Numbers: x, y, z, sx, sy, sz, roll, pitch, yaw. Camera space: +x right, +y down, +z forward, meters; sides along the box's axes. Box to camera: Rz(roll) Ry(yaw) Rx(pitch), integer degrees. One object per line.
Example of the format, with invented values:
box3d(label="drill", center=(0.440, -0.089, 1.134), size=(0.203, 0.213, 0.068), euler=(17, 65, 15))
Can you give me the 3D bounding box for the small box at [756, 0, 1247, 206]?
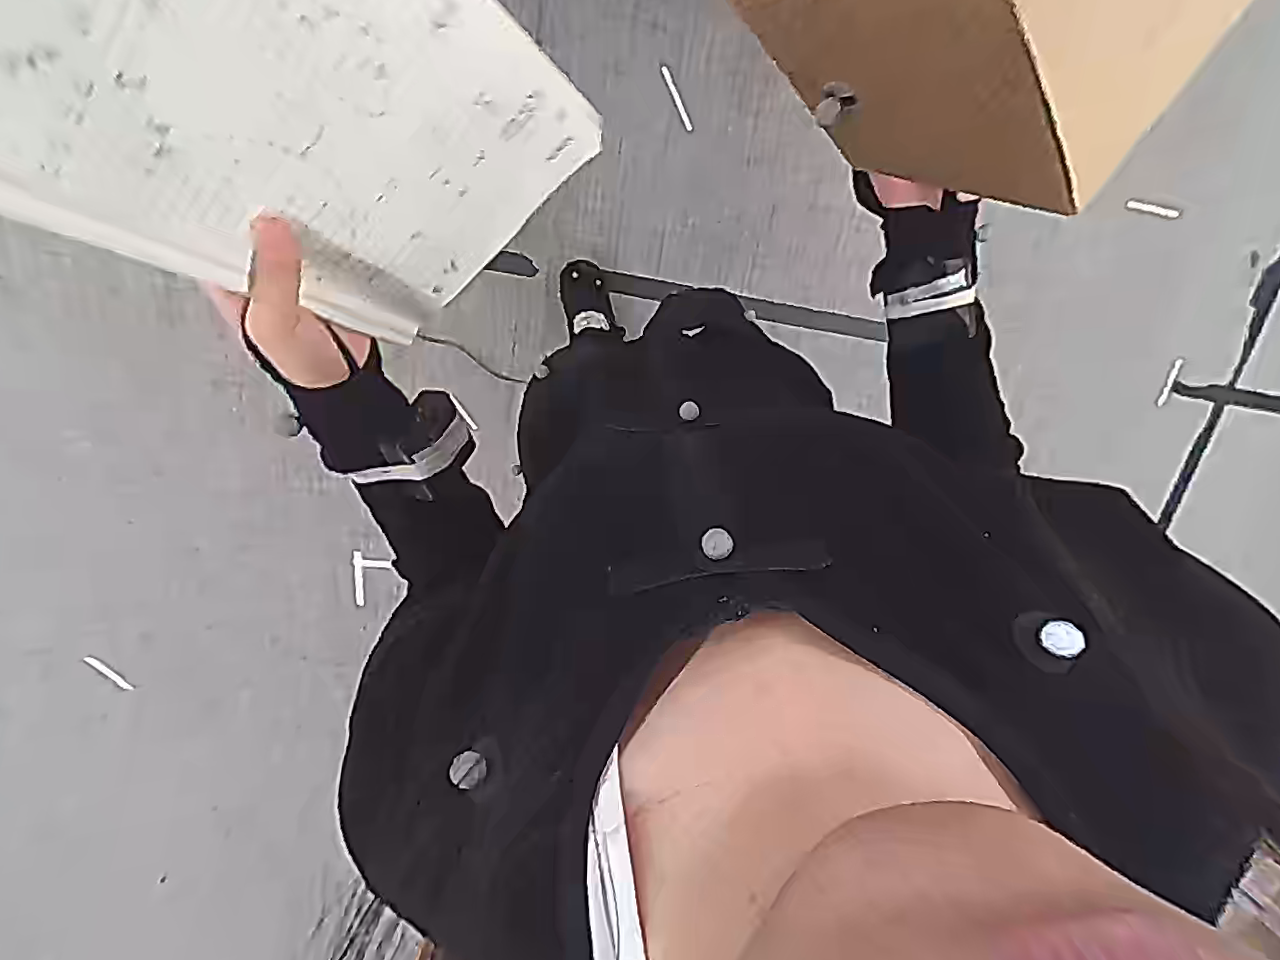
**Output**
box3d(label="small box", center=(0.184, -0.275, 0.265), size=(0.179, 0.176, 0.168), euler=(14, 115, -44))
